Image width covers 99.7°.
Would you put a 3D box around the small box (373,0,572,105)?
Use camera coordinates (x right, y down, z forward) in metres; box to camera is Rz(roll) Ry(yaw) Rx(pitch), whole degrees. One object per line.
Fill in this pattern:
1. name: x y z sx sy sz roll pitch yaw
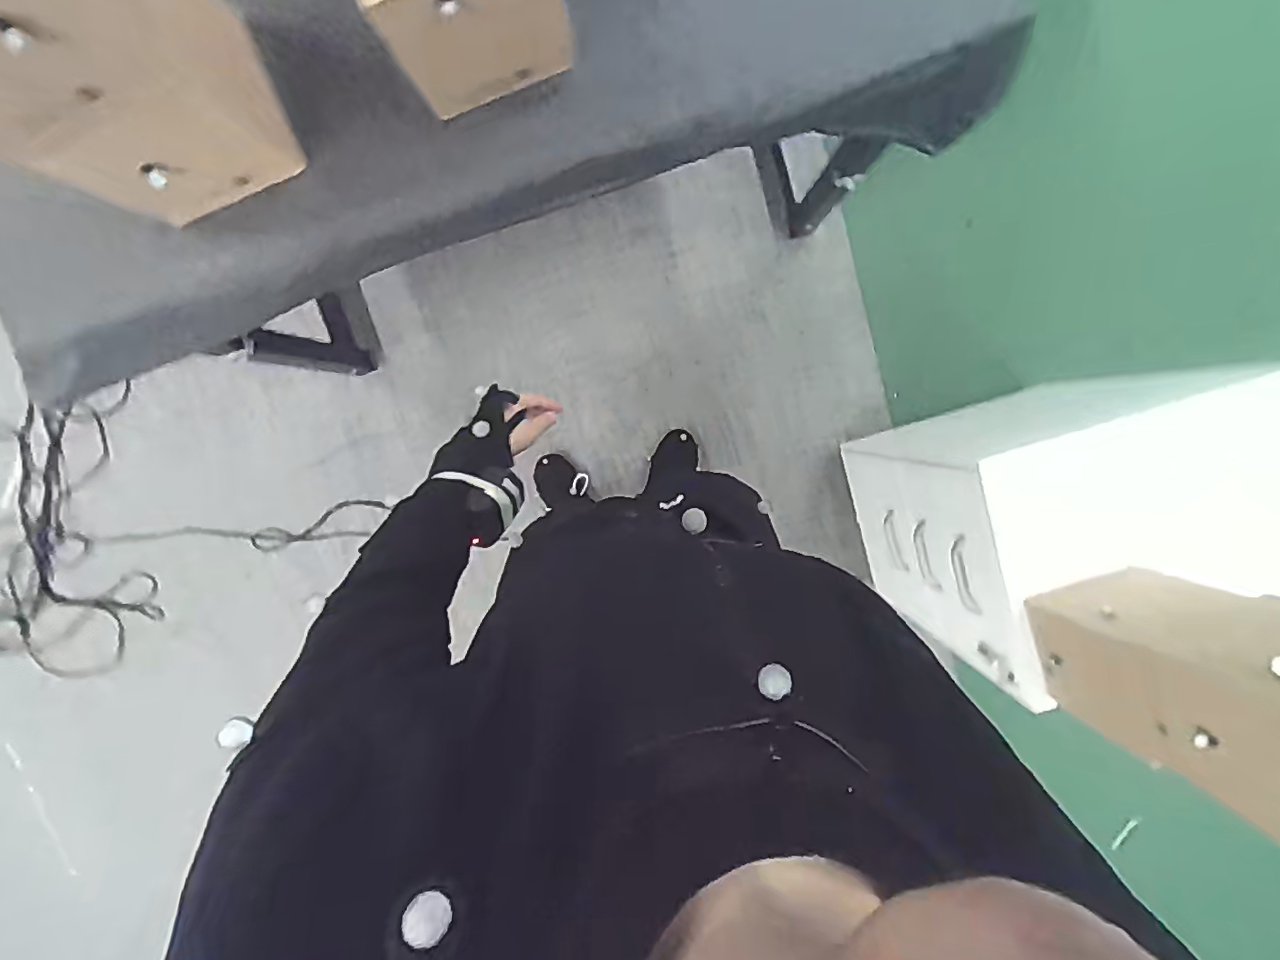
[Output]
1. small box: -0.173 -0.501 0.496 0.168 0.176 0.179 -20 96 2

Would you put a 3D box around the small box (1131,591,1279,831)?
1. small box: 0.661 0.236 0.554 0.179 0.176 0.168 -20 96 2

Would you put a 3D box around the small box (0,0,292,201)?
1. small box: -0.478 -0.393 0.509 0.168 0.176 0.179 -22 96 2
